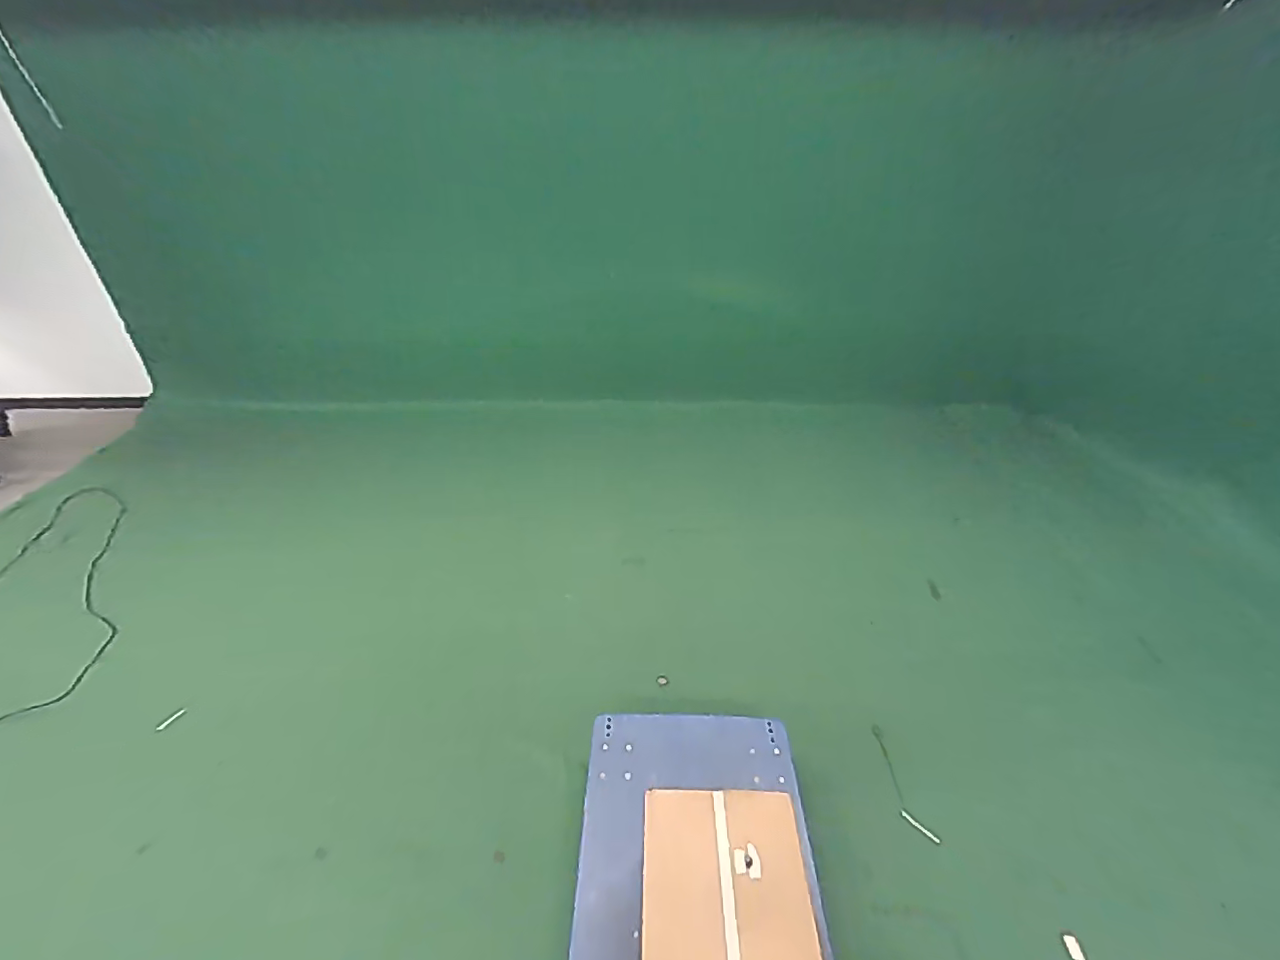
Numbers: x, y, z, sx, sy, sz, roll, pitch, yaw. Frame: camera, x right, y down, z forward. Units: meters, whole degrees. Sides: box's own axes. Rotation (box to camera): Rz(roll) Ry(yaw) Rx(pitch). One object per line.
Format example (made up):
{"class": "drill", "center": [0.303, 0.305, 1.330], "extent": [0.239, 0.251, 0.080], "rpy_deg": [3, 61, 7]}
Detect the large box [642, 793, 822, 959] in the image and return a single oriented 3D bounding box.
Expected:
{"class": "large box", "center": [0.162, 0.910, 1.074], "extent": [0.320, 0.320, 0.408], "rpy_deg": [1, 32, 1]}
